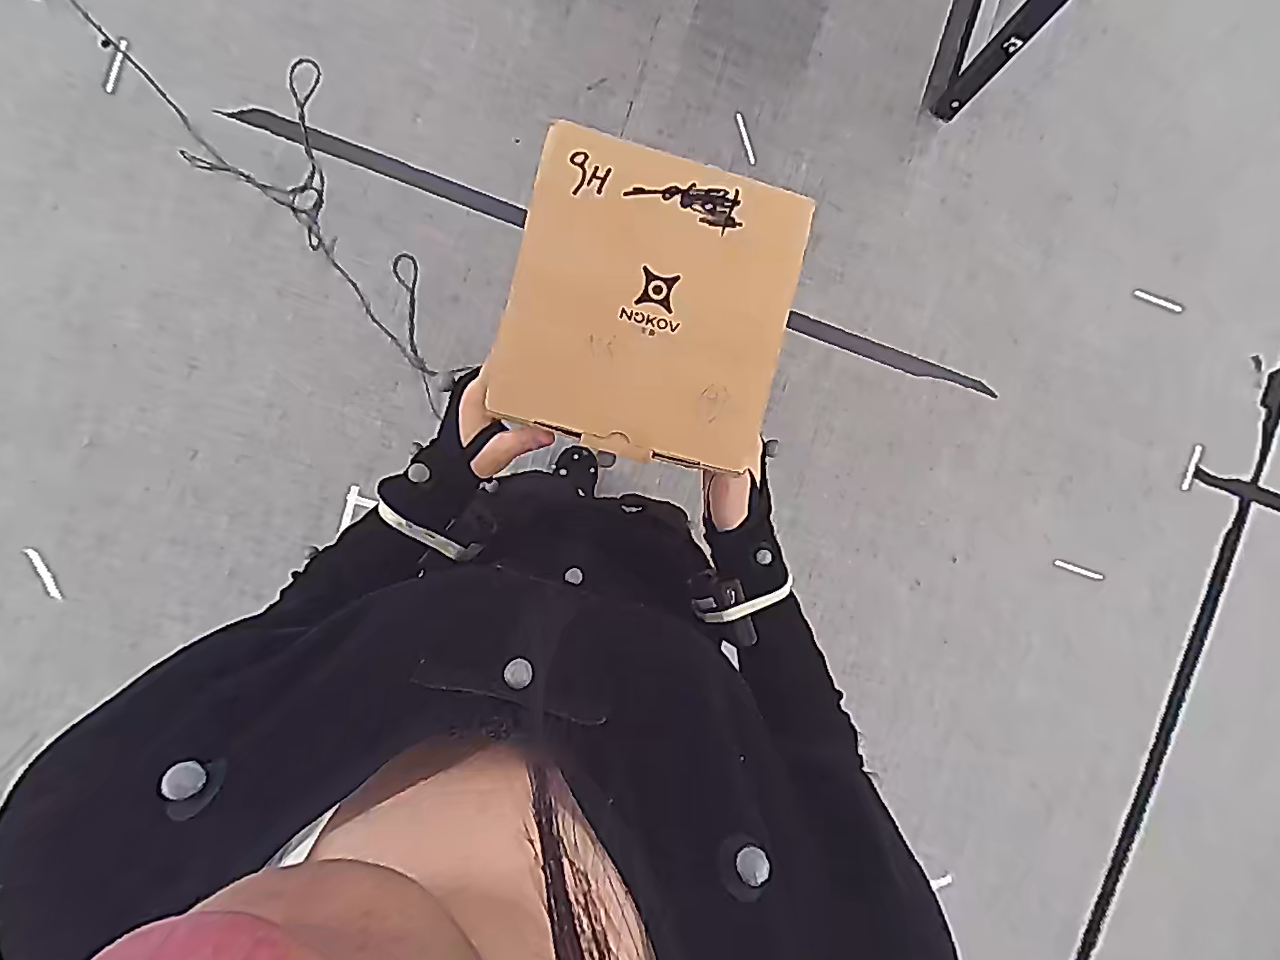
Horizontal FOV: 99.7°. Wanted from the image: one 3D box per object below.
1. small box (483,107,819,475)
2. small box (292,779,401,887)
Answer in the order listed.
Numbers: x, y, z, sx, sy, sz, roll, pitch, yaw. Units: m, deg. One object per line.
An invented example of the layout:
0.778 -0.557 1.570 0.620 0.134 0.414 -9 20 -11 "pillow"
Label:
0.000 -0.112 0.393 0.168 0.176 0.179 14 93 -7 "small box"
-0.747 0.893 1.392 0.179 0.176 0.168 13 93 -5 "small box"
